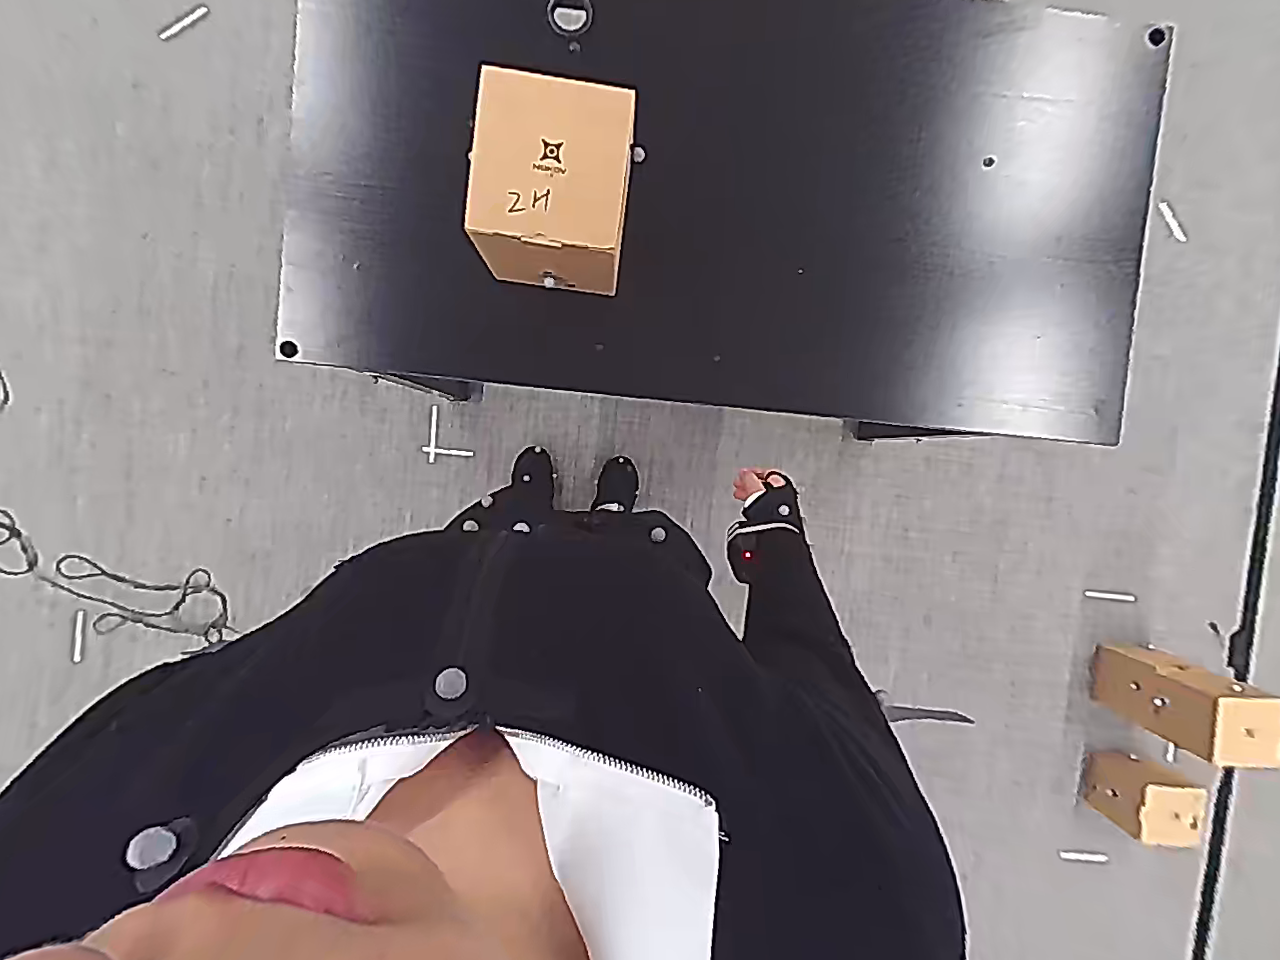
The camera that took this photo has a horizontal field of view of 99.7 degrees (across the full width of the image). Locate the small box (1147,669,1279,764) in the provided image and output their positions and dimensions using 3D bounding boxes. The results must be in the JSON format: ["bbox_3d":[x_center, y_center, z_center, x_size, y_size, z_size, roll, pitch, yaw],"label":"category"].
[{"bbox_3d":[1.441,0.586,1.356,0.179,0.176,0.168,2,92,-2],"label":"small box"}]

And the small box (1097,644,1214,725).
[{"bbox_3d":[1.437,0.573,1.518,0.168,0.176,0.179,4,94,-3],"label":"small box"}]

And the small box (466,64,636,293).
[{"bbox_3d":[-0.101,-0.350,0.661,0.168,0.176,0.179,7,93,-3],"label":"small box"}]

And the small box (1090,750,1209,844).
[{"bbox_3d":[1.439,0.894,1.539,0.179,0.176,0.168,6,93,-2],"label":"small box"}]
